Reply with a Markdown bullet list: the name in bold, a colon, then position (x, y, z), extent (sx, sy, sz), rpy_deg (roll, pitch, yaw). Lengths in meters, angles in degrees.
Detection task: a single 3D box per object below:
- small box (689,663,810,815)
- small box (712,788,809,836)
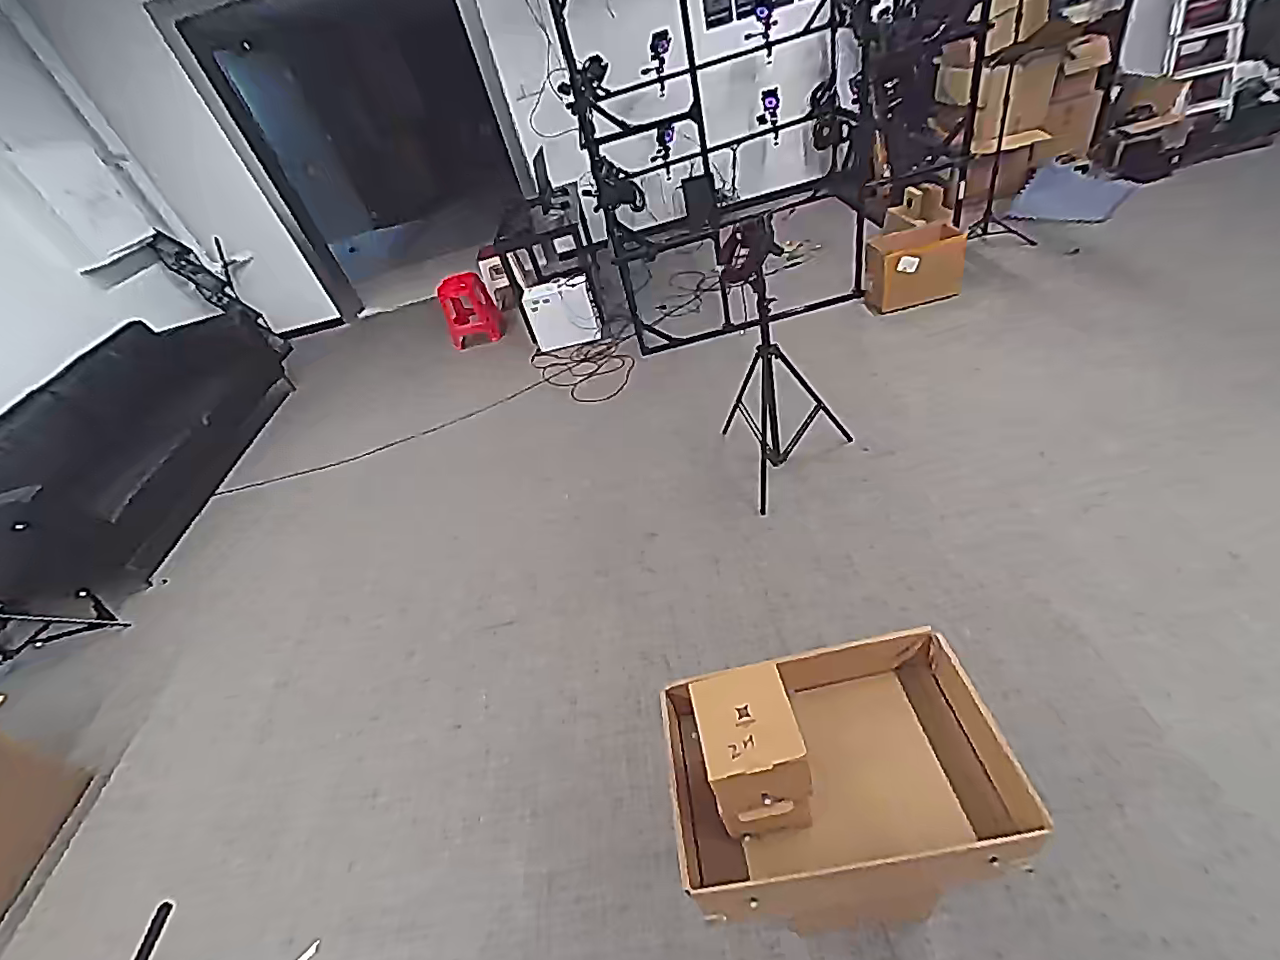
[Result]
- **small box**: position (0.195, 0.466, 0.973), extent (0.168, 0.176, 0.179), rpy_deg (-16, 40, 4)
- **small box**: position (0.230, 0.586, 1.081), extent (0.168, 0.176, 0.179), rpy_deg (-15, 38, 5)
